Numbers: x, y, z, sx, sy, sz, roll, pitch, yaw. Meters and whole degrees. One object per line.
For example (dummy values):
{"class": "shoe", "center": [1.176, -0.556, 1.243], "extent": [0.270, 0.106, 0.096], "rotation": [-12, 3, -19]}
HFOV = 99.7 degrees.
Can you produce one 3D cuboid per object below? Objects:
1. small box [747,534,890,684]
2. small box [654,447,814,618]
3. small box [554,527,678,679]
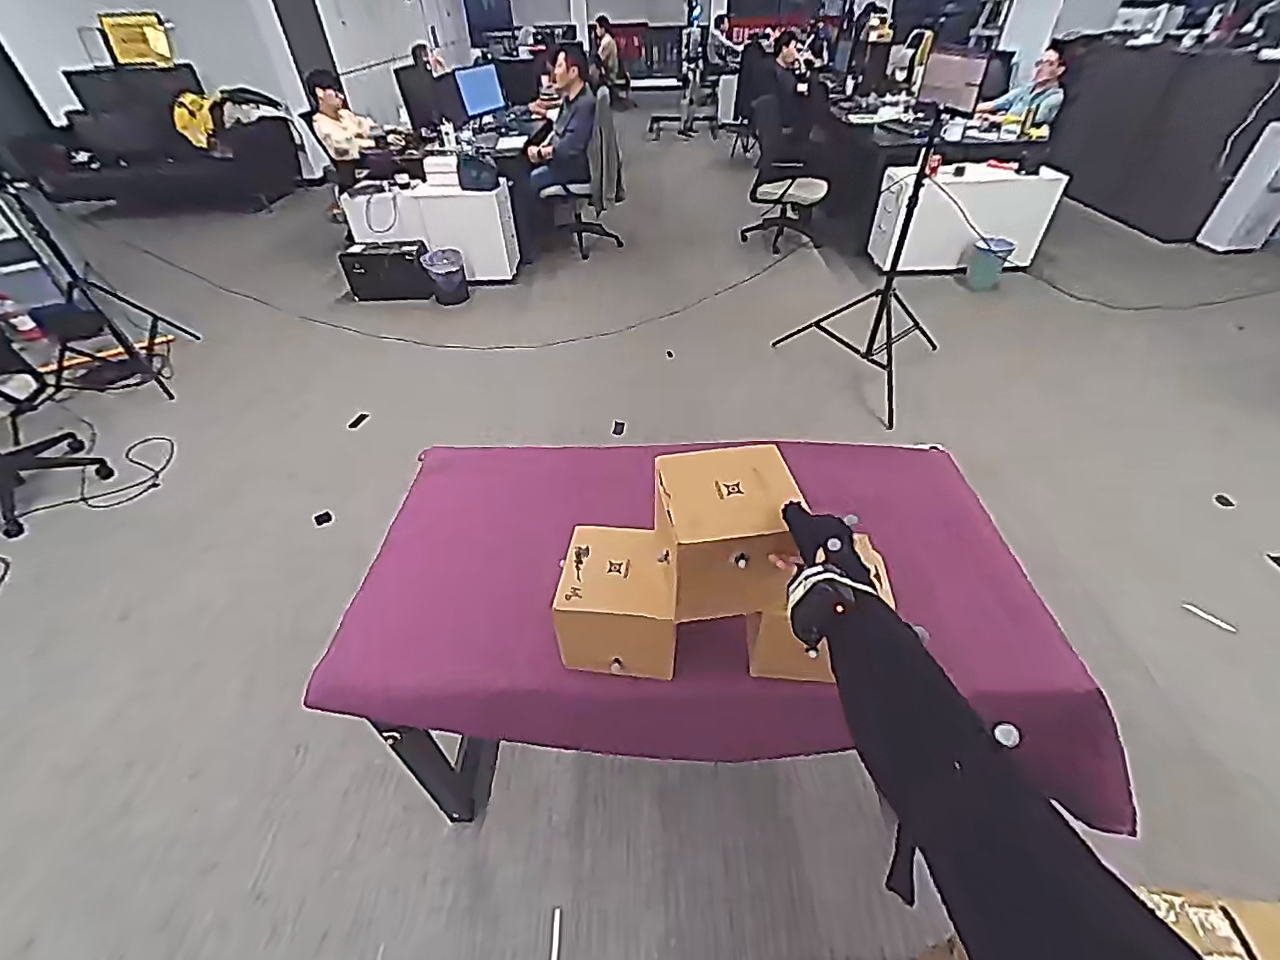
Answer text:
{"class": "small box", "center": [0.265, 0.202, 0.851], "extent": [0.179, 0.176, 0.168], "rotation": [2, 41, 6]}
{"class": "small box", "center": [0.118, 0.075, 0.756], "extent": [0.179, 0.176, 0.168], "rotation": [-6, 42, -6]}
{"class": "small box", "center": [-0.026, 0.199, 0.868], "extent": [0.179, 0.176, 0.168], "rotation": [4, 41, 6]}
